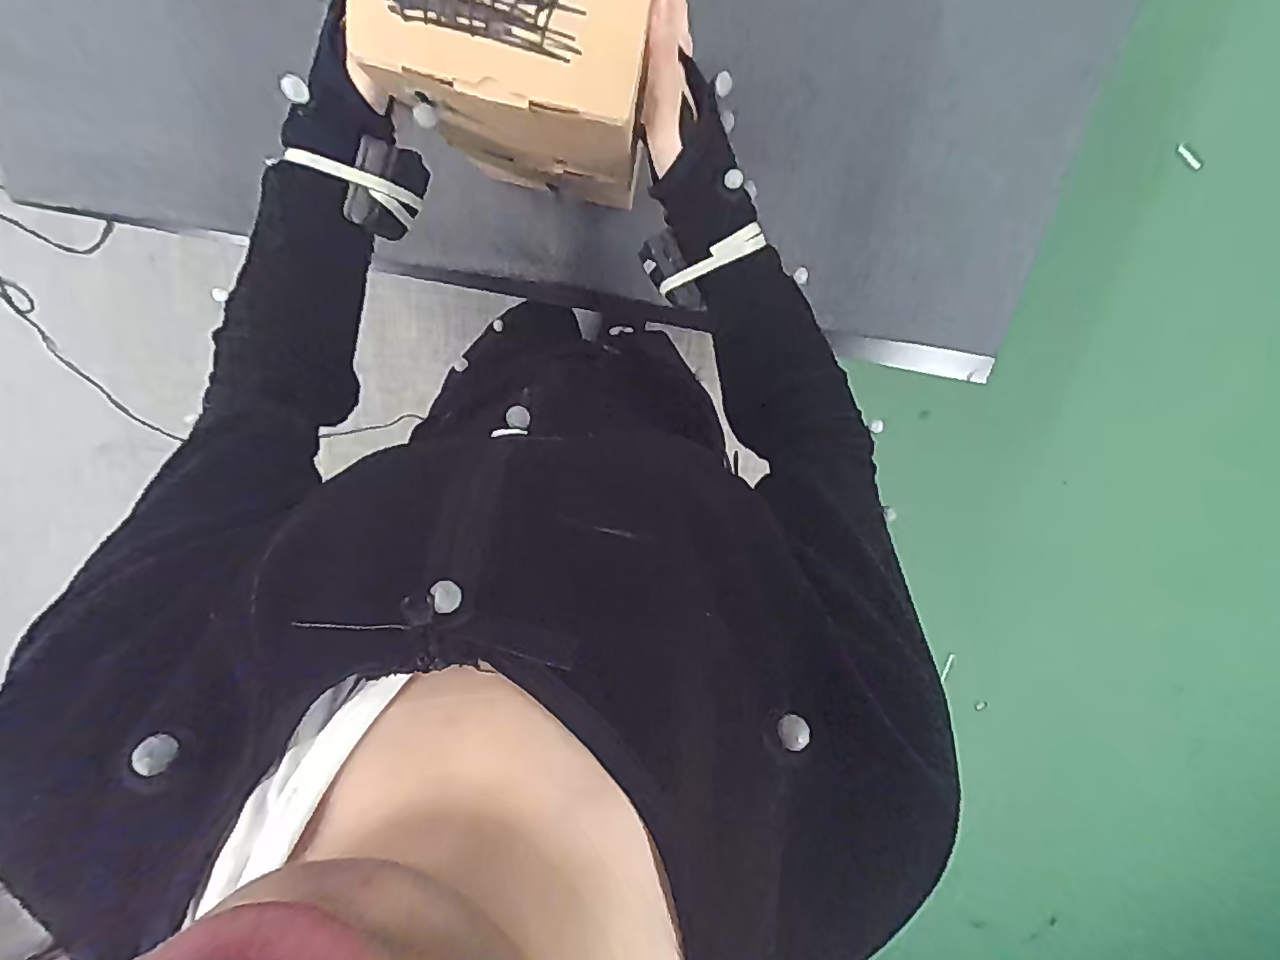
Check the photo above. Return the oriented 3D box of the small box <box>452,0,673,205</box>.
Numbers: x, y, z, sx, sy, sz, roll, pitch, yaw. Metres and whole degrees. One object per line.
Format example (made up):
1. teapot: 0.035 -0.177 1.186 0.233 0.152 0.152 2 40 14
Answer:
1. small box: -0.066 -0.385 0.517 0.168 0.176 0.179 11 110 -4
